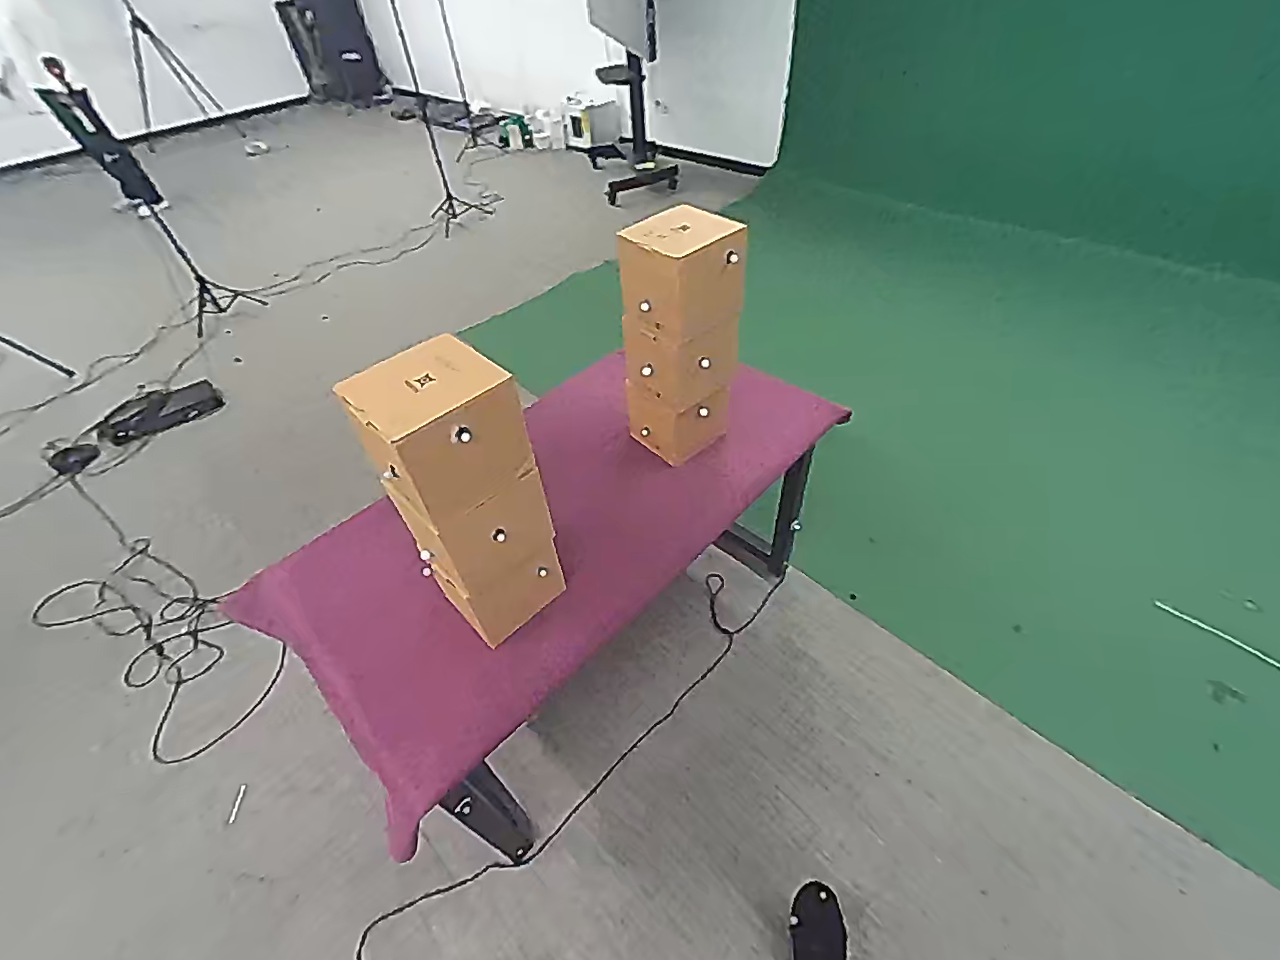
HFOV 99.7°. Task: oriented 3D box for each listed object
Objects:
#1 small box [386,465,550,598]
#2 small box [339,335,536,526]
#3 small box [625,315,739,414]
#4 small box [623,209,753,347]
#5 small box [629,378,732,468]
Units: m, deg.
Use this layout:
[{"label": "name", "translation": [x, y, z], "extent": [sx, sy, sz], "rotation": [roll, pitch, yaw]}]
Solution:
[{"label": "small box", "translation": [-0.260, 0.049, 0.863], "extent": [0.168, 0.176, 0.179], "rotation": [34, 57, 31]}, {"label": "small box", "translation": [-0.268, -0.068, 0.749], "extent": [0.179, 0.176, 0.168], "rotation": [-36, 54, -28]}, {"label": "small box", "translation": [0.091, -0.269, 1.145], "extent": [0.179, 0.176, 0.168], "rotation": [-34, 54, -24]}, {"label": "small box", "translation": [0.088, -0.383, 1.025], "extent": [0.179, 0.176, 0.168], "rotation": [-34, 53, -24]}, {"label": "small box", "translation": [0.093, -0.162, 1.270], "extent": [0.179, 0.176, 0.168], "rotation": [-34, 53, -24]}]
